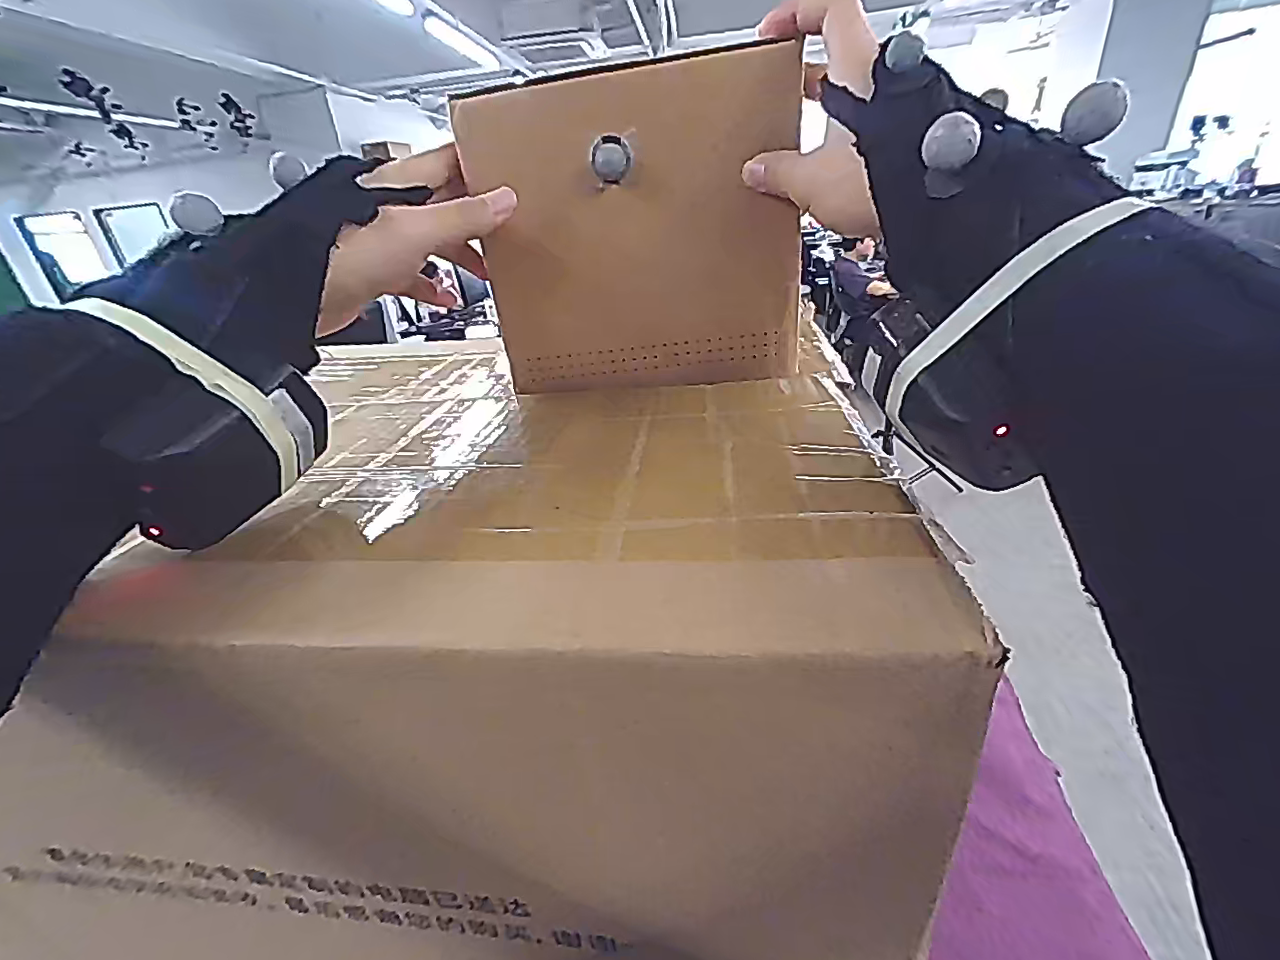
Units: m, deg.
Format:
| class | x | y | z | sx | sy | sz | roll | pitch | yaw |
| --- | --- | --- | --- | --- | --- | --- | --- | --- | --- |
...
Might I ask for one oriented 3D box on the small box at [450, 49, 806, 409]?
| class | x | y | z | sx | sy | sz | roll | pitch | yaw |
| --- | --- | --- | --- | --- | --- | --- | --- | --- | --- |
| small box | 0.006 | -0.159 | 0.365 | 0.179 | 0.176 | 0.168 | -5 | 28 | 7 |
